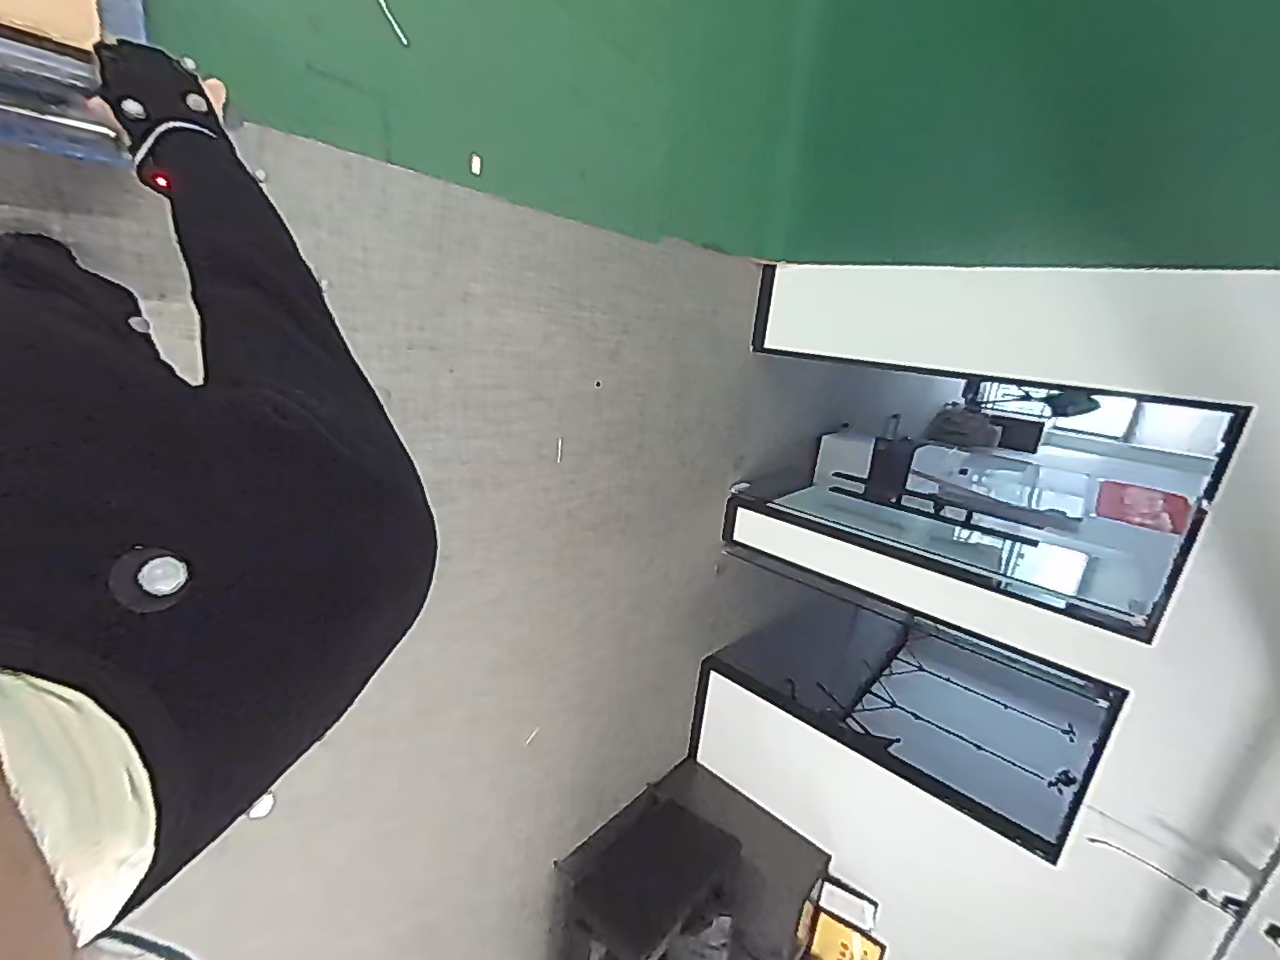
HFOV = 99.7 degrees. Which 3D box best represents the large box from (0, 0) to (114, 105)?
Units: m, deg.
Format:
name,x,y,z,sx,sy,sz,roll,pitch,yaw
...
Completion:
name,x,y,z,sx,sy,sz,roll,pitch,yaw
large box,-0.935,-0.778,0.685,0.320,0.320,0.408,-14,114,-48
